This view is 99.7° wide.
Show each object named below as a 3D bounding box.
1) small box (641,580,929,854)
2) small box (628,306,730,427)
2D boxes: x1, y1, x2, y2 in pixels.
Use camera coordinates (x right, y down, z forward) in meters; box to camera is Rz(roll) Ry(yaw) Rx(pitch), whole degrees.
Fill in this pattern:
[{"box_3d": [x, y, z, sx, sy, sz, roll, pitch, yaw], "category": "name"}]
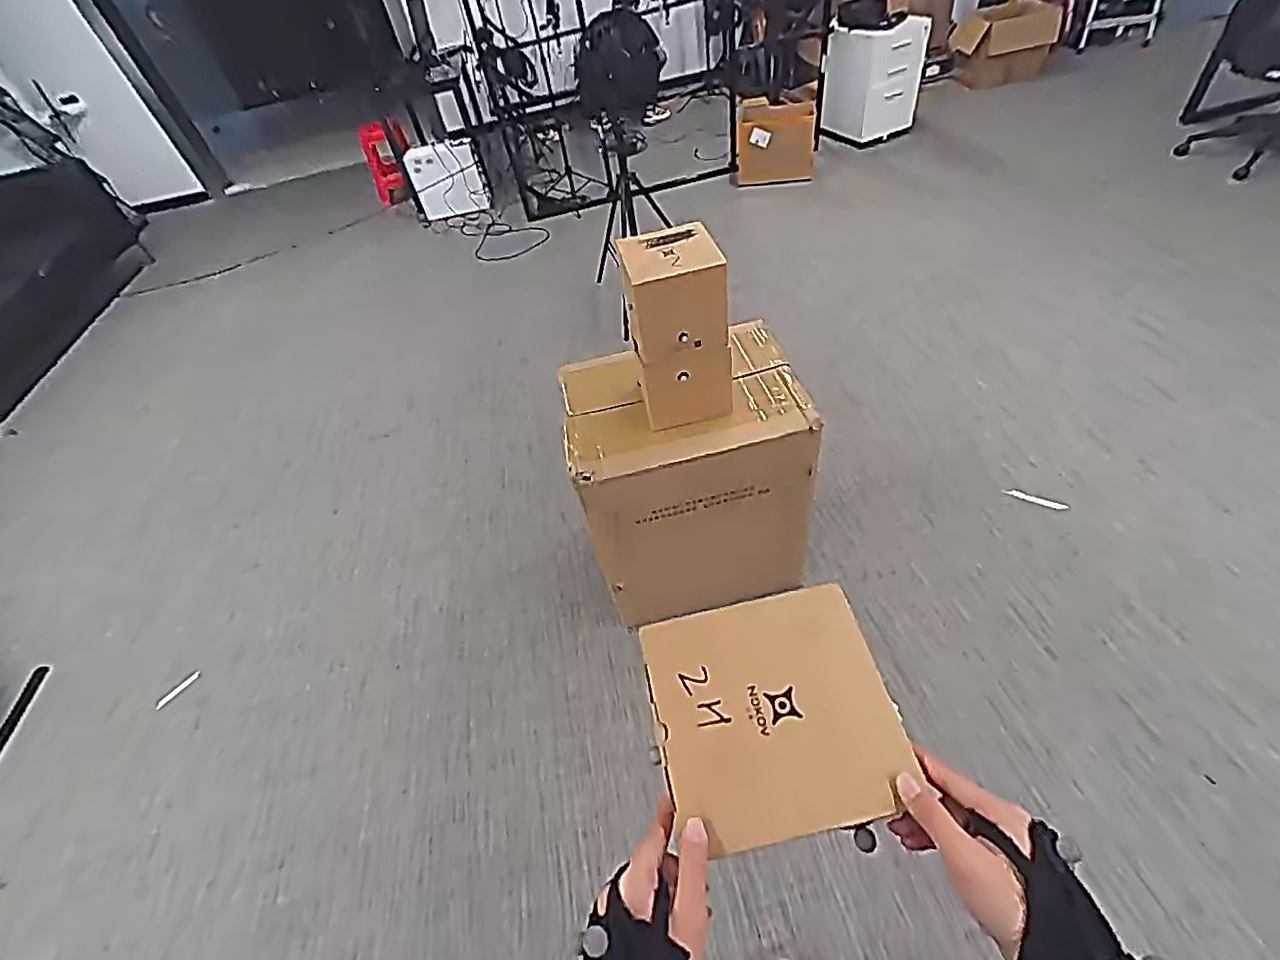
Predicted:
[{"box_3d": [0.105, 0.209, 0.471, 0.179, 0.176, 0.168, -12, 55, -1], "category": "small box"}, {"box_3d": [0.083, -0.233, 1.131, 0.179, 0.176, 0.168, -13, 48, -1], "category": "small box"}]
